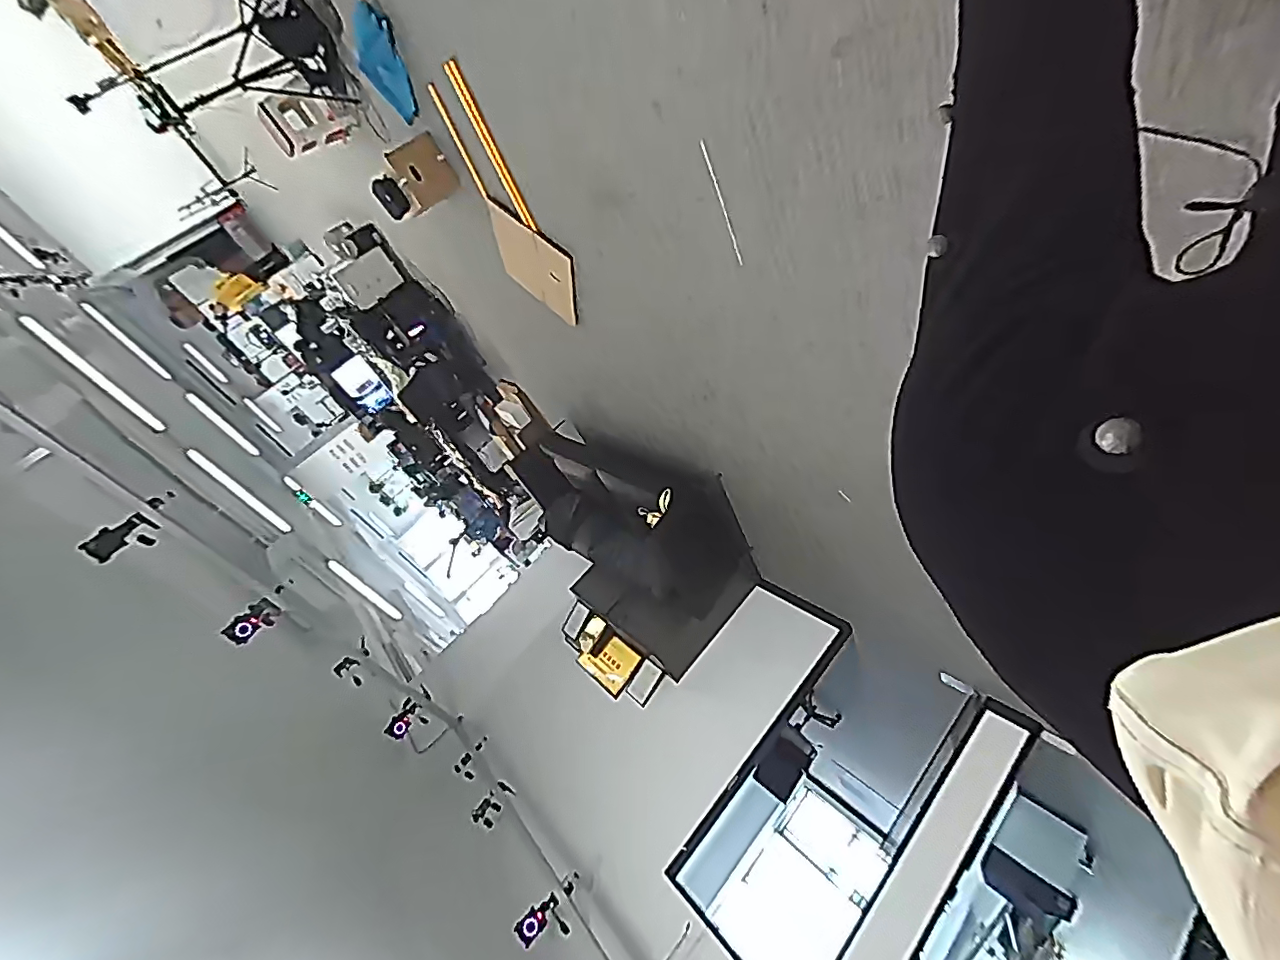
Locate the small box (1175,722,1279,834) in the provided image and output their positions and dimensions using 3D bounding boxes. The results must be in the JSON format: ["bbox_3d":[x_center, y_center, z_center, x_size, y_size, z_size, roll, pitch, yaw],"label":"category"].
[{"bbox_3d":[1.556,0.769,1.402,0.168,0.176,0.179,30,156,41],"label":"small box"}]

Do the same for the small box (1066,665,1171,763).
[{"bbox_3d":[1.378,0.669,1.557,0.168,0.176,0.179,29,156,40],"label":"small box"}]
